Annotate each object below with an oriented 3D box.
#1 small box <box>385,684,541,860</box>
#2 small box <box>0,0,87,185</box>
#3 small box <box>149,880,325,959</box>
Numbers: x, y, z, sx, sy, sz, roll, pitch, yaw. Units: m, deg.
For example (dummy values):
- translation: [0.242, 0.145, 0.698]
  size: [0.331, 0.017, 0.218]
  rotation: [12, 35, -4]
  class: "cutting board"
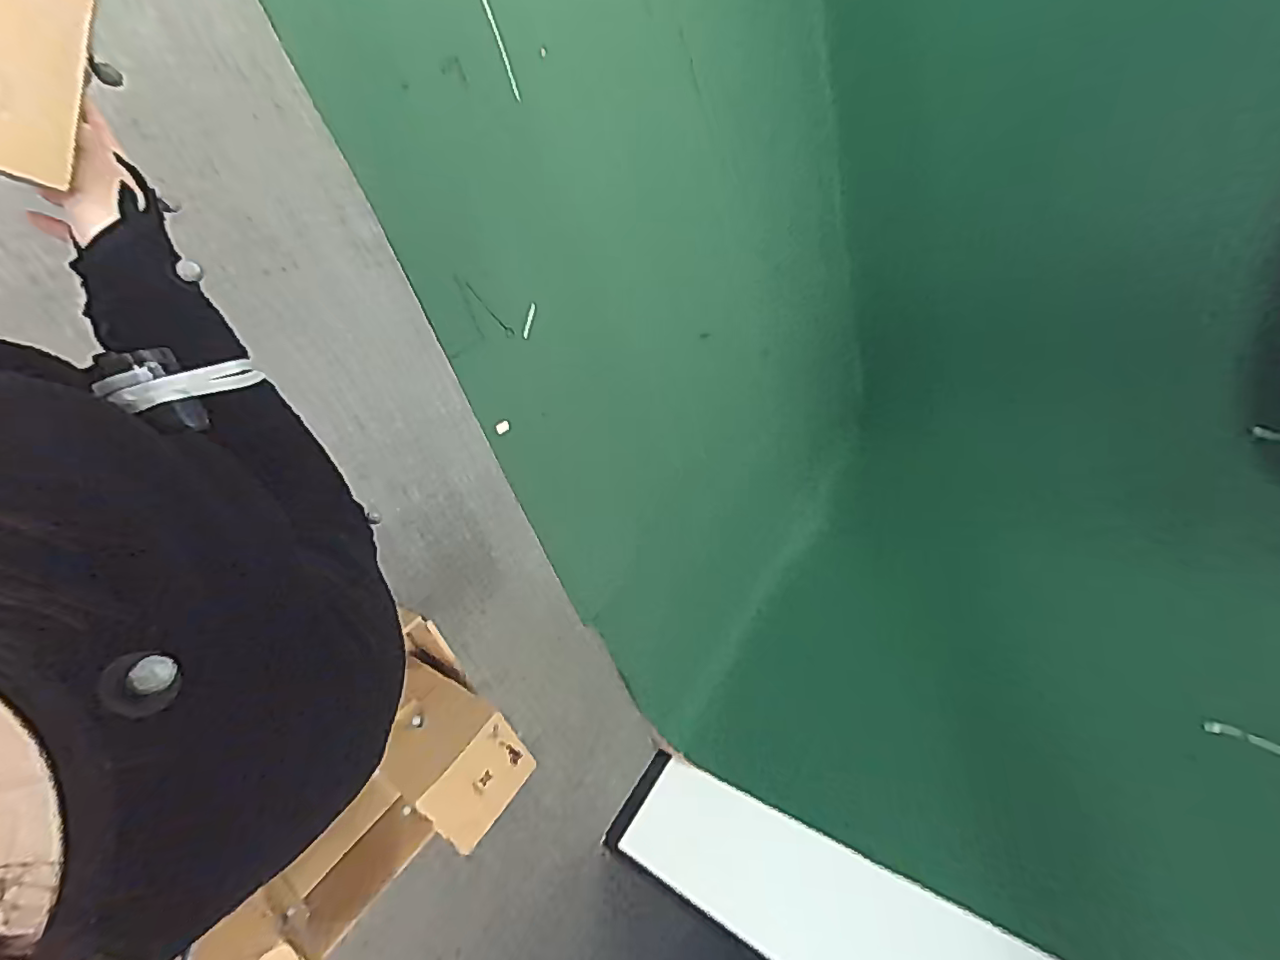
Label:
- translation: [-0.312, 0.494, 0.938]
  size: [0.179, 0.176, 0.168]
  rotation: [-43, 126, -35]
  class: "small box"
- translation: [-0.411, -0.277, 0.281]
  size: [0.168, 0.176, 0.179]
  rotation: [7, 104, -48]
  class: "small box"
- translation: [-0.533, 0.685, 0.718]
  size: [0.168, 0.176, 0.179]
  rotation: [-35, 121, -39]
  class: "small box"
